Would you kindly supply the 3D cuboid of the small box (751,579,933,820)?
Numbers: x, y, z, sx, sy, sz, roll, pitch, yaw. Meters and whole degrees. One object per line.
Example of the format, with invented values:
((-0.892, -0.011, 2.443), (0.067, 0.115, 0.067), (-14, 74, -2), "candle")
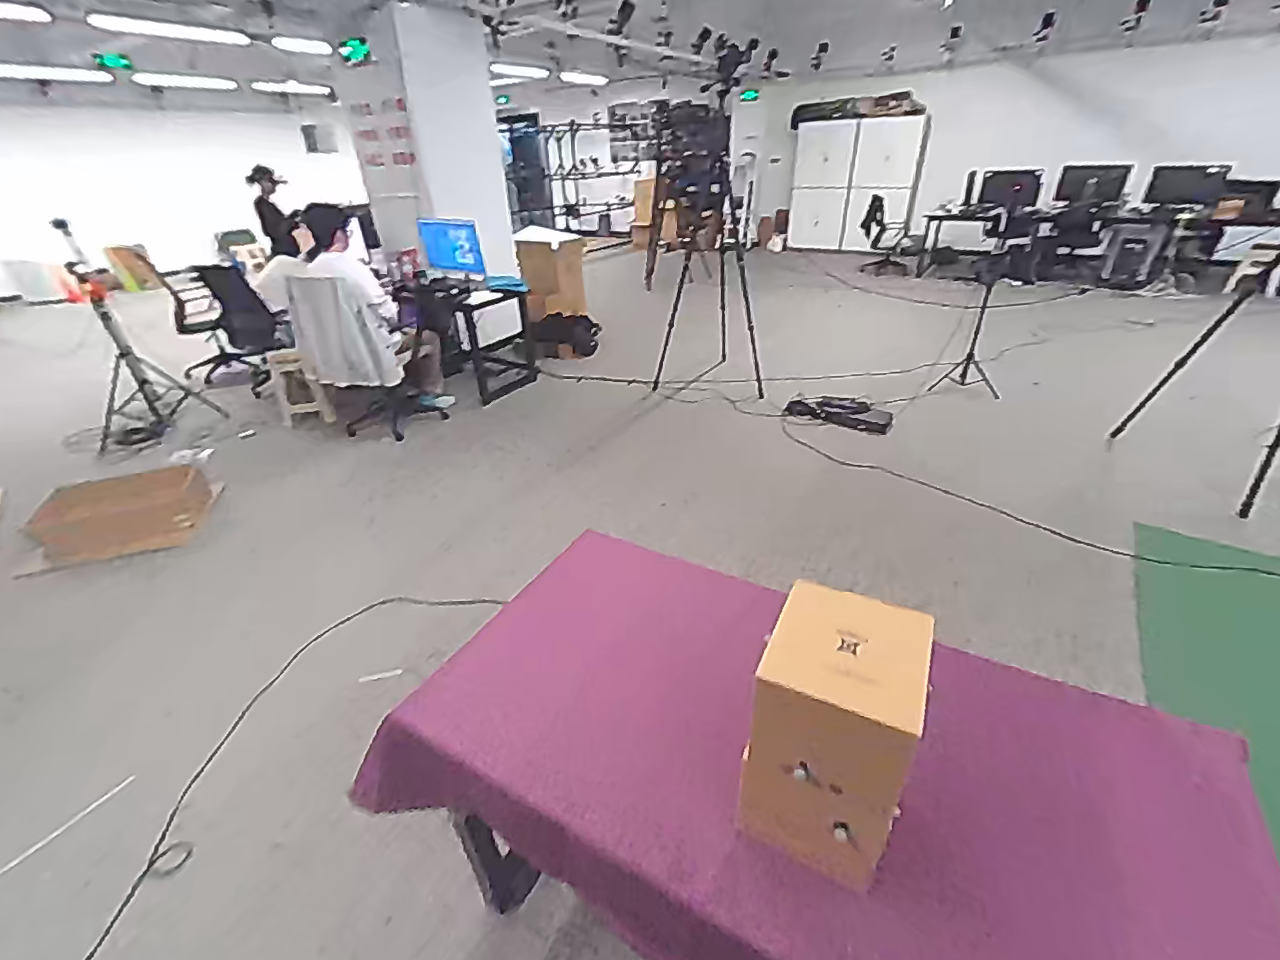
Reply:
((0.239, 0.257, 0.654), (0.168, 0.176, 0.179), (13, 35, 26), "small box")

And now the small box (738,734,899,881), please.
((0.245, 0.398, 0.736), (0.179, 0.176, 0.168), (15, 35, 27), "small box")
